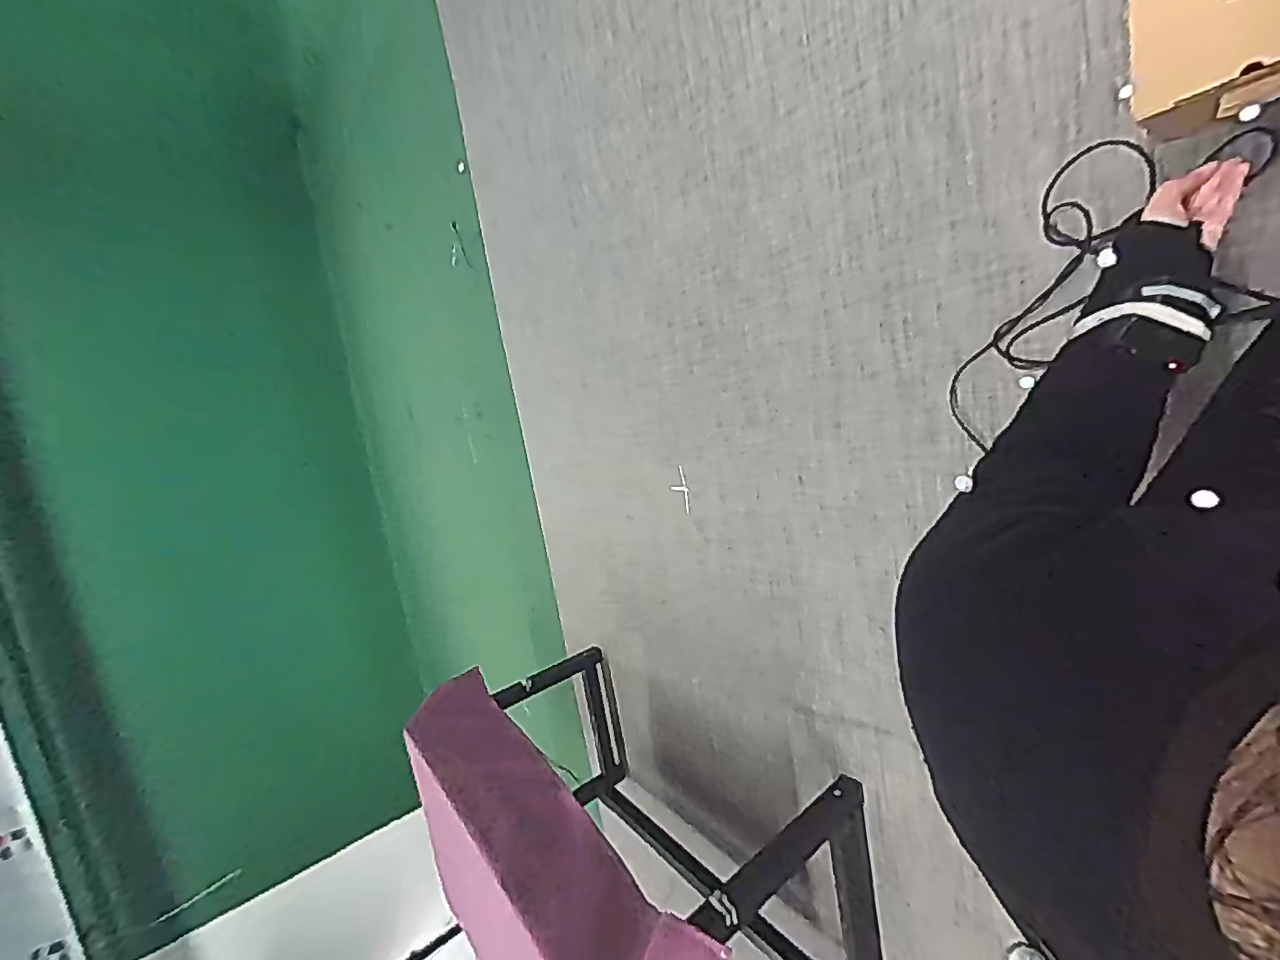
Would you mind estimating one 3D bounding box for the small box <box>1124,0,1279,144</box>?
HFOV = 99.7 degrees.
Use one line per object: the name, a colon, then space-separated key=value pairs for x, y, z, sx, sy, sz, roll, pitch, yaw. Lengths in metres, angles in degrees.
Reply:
small box: x=0.607 y=-0.468 z=0.534 sx=0.168 sy=0.176 sz=0.179 roll=2 pitch=104 yaw=54
